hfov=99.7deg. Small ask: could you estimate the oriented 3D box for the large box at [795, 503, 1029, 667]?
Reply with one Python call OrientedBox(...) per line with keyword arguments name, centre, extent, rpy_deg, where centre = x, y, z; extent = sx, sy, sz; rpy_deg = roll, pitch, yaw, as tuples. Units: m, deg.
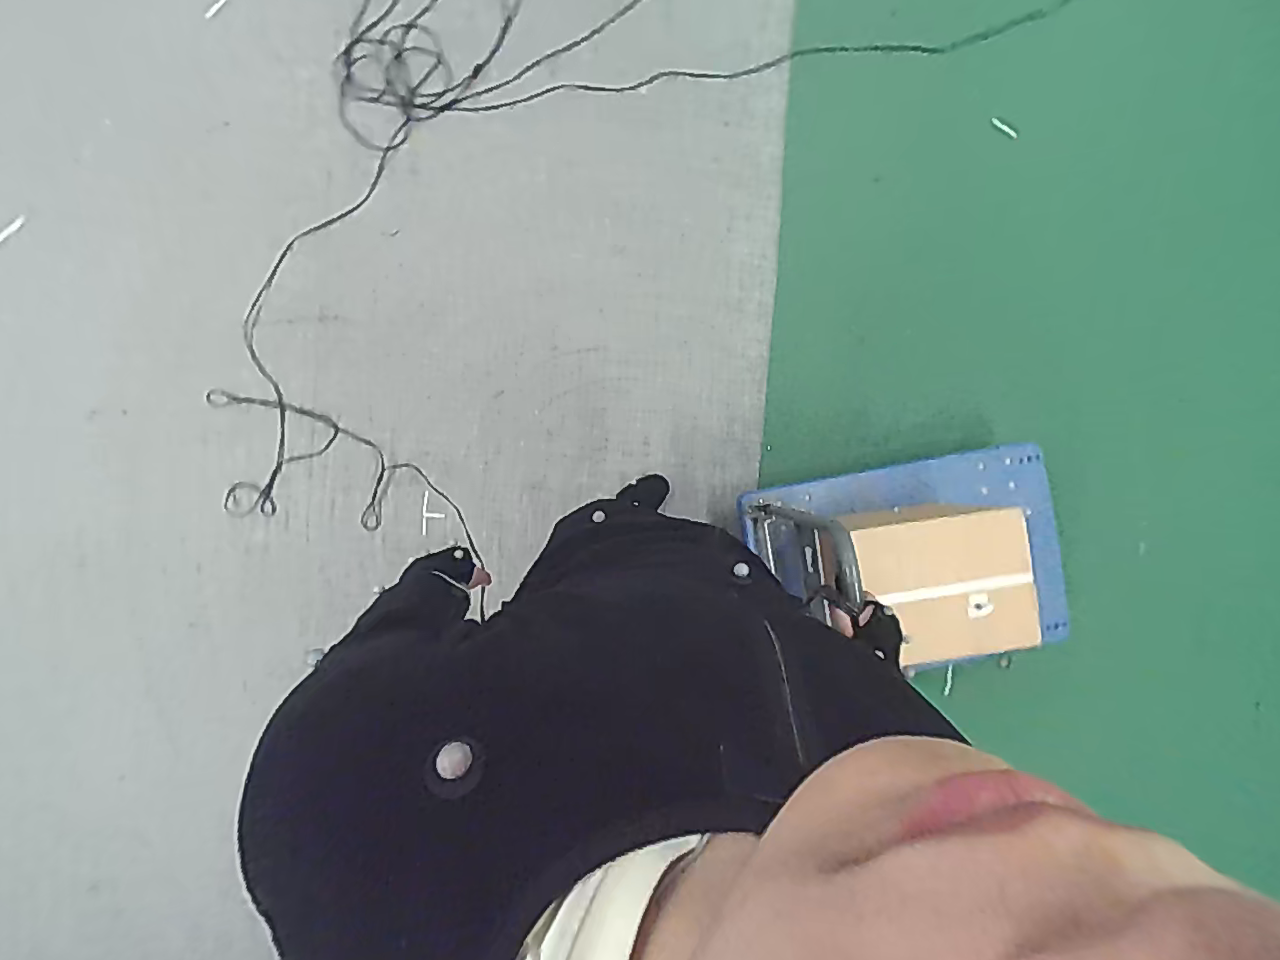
OrientedBox(name="large box", centre=(0.648, 0.237, 1.348), extent=(0.408, 0.320, 0.320), rpy_deg=(-7, 91, -4))
